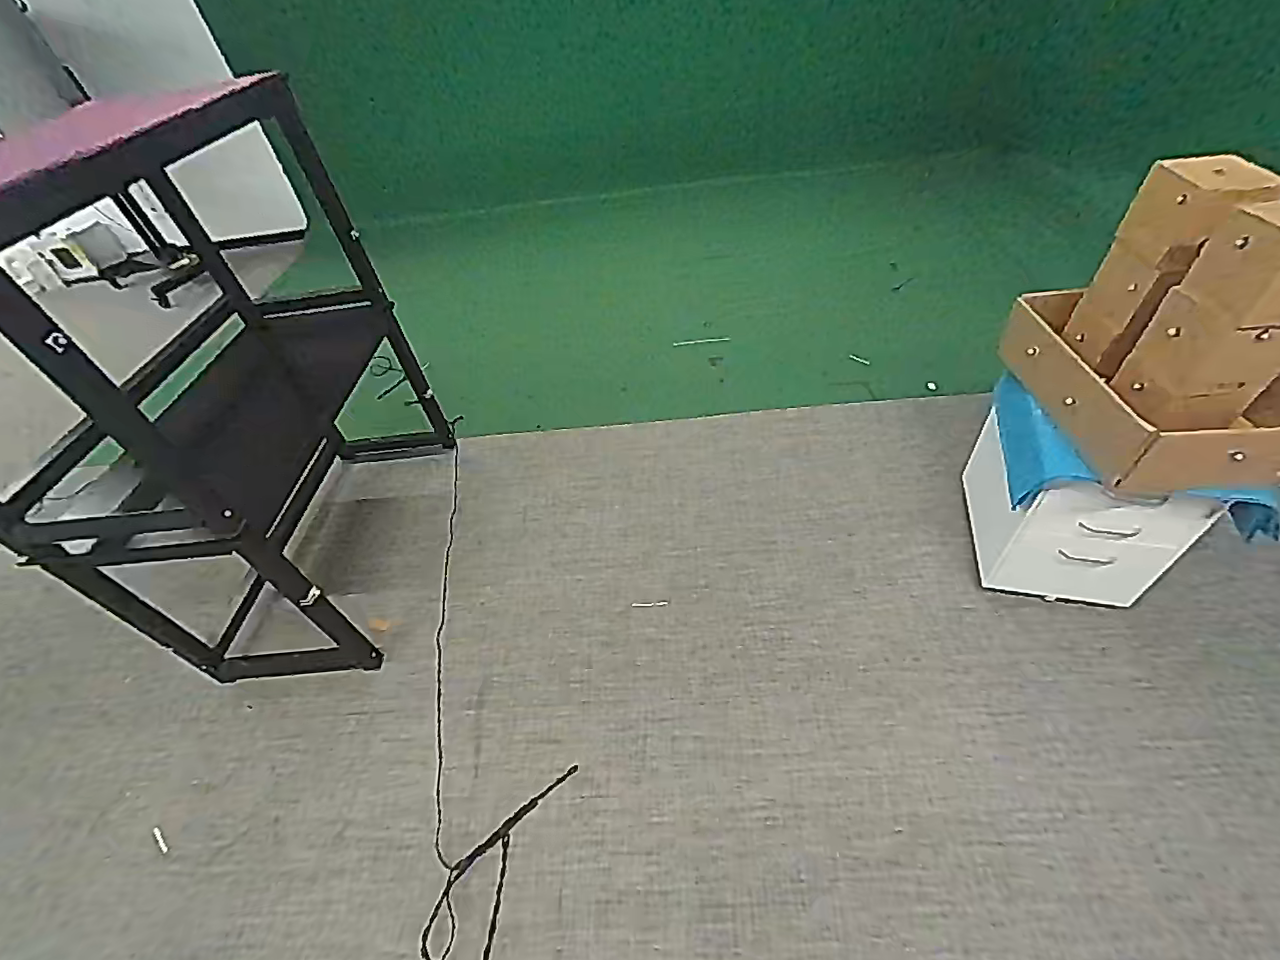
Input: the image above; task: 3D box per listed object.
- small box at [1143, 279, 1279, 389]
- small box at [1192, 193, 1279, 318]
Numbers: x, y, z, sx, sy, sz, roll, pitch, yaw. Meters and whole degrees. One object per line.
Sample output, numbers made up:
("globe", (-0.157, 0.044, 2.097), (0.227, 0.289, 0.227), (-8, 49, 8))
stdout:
("small box", (1.226, -0.310, 1.132), (0.168, 0.176, 0.179), (-4, 44, 5))
("small box", (1.213, -0.422, 1.010), (0.168, 0.176, 0.179), (-3, 45, 7))
